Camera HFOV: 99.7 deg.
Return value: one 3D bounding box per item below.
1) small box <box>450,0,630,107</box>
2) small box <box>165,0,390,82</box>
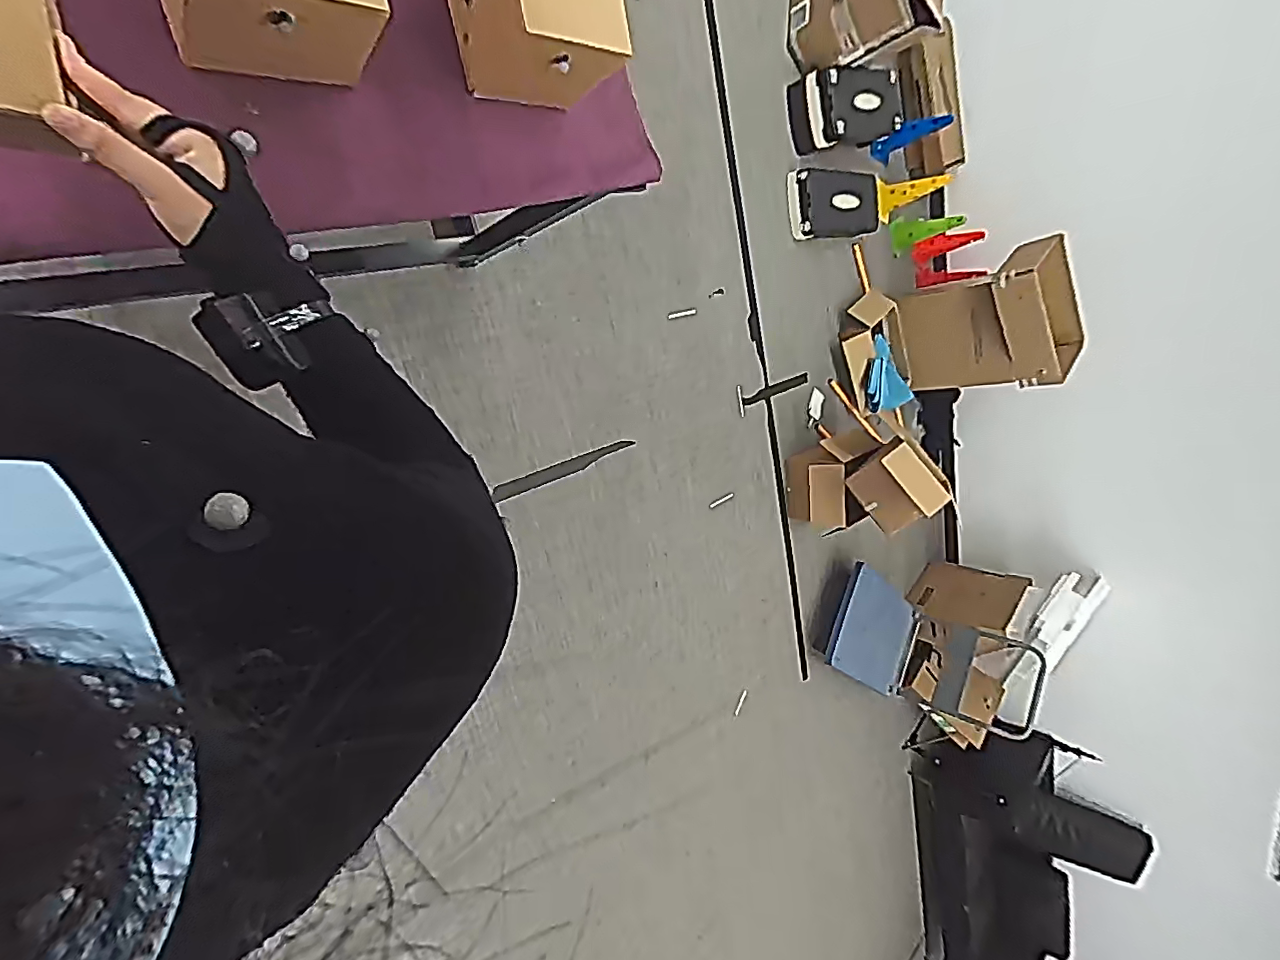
[{"bbox_3d":[-0.142,-0.651,0.751,0.179,0.176,0.168,-21,108,-37],"label":"small box"},{"bbox_3d":[-0.388,-0.542,0.550,0.179,0.176,0.168,-22,110,-38],"label":"small box"}]
